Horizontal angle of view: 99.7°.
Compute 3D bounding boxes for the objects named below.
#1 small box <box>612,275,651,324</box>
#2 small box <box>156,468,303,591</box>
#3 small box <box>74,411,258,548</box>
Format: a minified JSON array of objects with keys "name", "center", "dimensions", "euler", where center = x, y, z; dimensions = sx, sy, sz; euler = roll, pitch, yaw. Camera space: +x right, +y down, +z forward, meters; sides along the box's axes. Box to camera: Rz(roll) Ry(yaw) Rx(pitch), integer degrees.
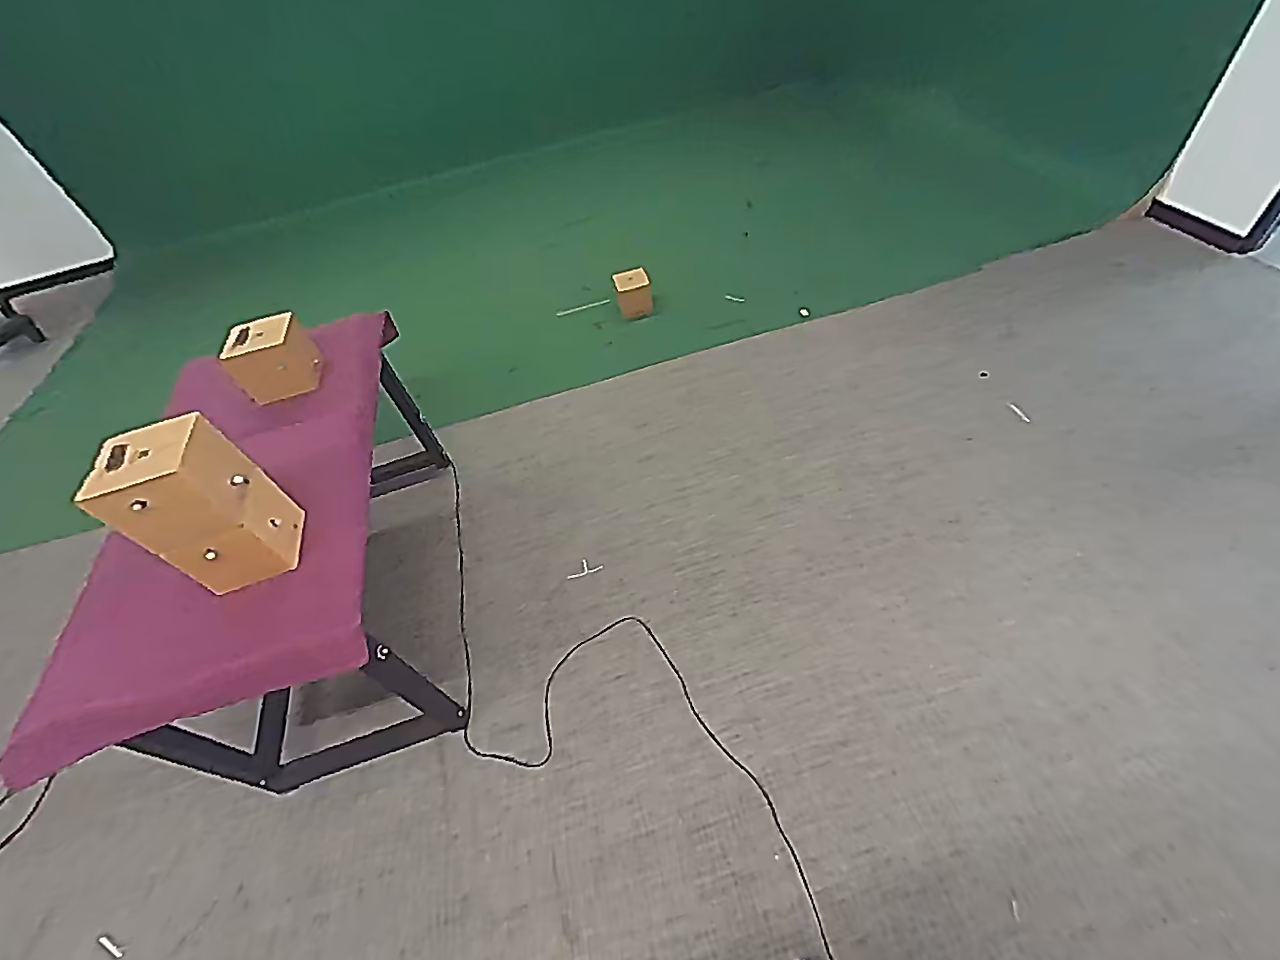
[{"name":"small box","center":[-0.043,-0.951,2.856],"dimensions":[0.168,0.176,0.179],"euler":[-15,49,-2]},{"name":"small box","center":[-0.852,0.108,1.148],"dimensions":[0.179,0.176,0.168],"euler":[-19,49,-5]},{"name":"small box","center":[-0.878,0.004,1.024],"dimensions":[0.179,0.176,0.168],"euler":[-18,50,-5]}]
